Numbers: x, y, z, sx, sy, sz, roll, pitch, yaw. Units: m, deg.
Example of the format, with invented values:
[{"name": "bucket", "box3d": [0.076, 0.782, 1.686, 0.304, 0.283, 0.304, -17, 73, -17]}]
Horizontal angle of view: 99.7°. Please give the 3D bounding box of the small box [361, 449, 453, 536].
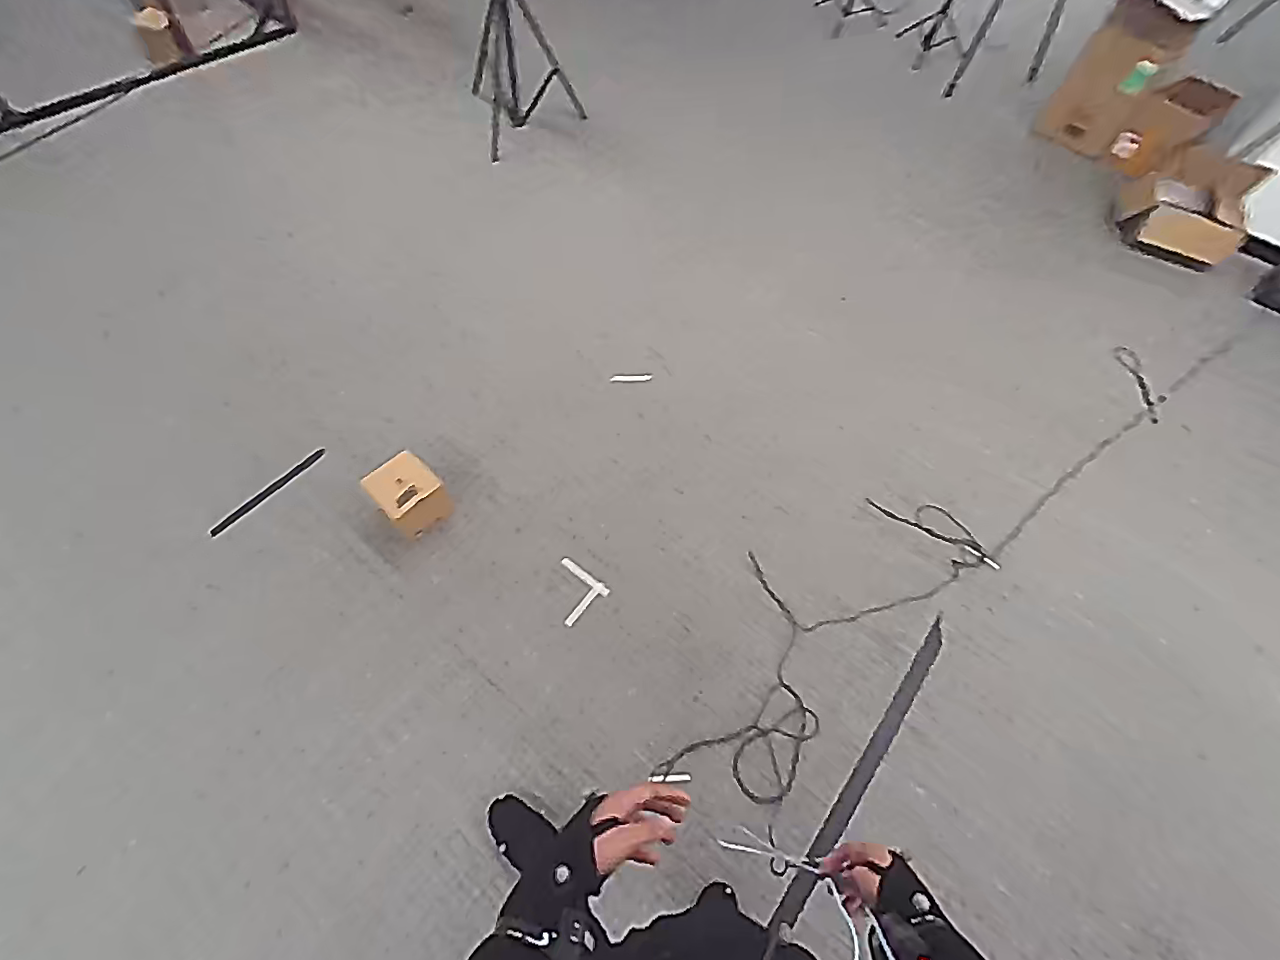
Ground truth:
[{"name": "small box", "box3d": [-0.689, 0.046, 1.622, 0.179, 0.176, 0.168, 40, 64, 17]}]
